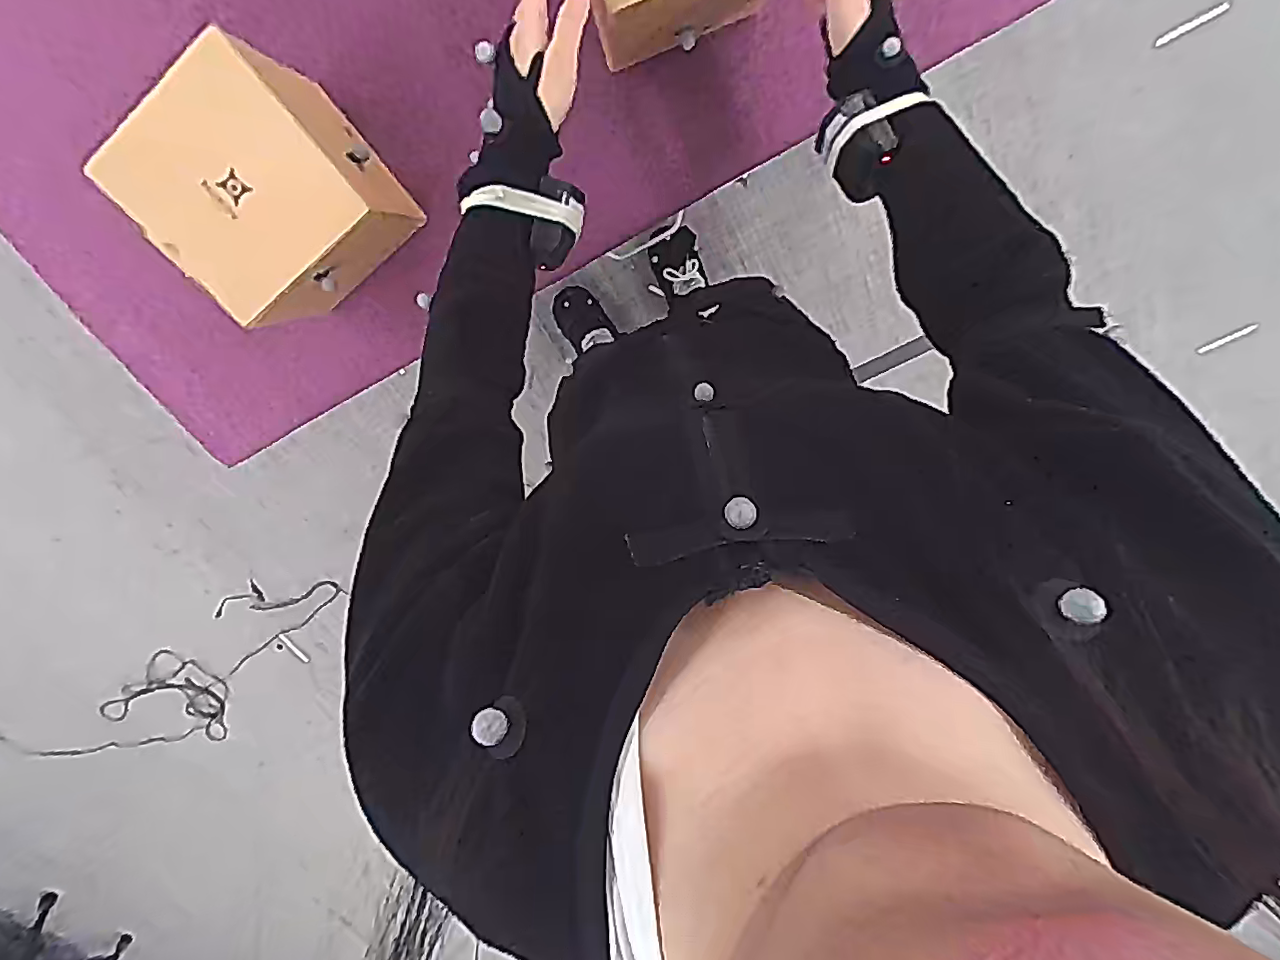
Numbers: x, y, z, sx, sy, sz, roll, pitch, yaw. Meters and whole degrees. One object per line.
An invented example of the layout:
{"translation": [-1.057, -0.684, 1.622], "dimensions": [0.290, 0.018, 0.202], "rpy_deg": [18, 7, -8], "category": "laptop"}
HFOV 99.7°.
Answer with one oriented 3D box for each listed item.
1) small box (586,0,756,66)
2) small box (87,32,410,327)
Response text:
{"translation": [0.017, -0.504, 0.464], "dimensions": [0.168, 0.176, 0.179], "rpy_deg": [-18, 114, 6], "category": "small box"}
{"translation": [-0.361, -0.284, 0.545], "dimensions": [0.179, 0.176, 0.168], "rpy_deg": [-35, 111, 12], "category": "small box"}
